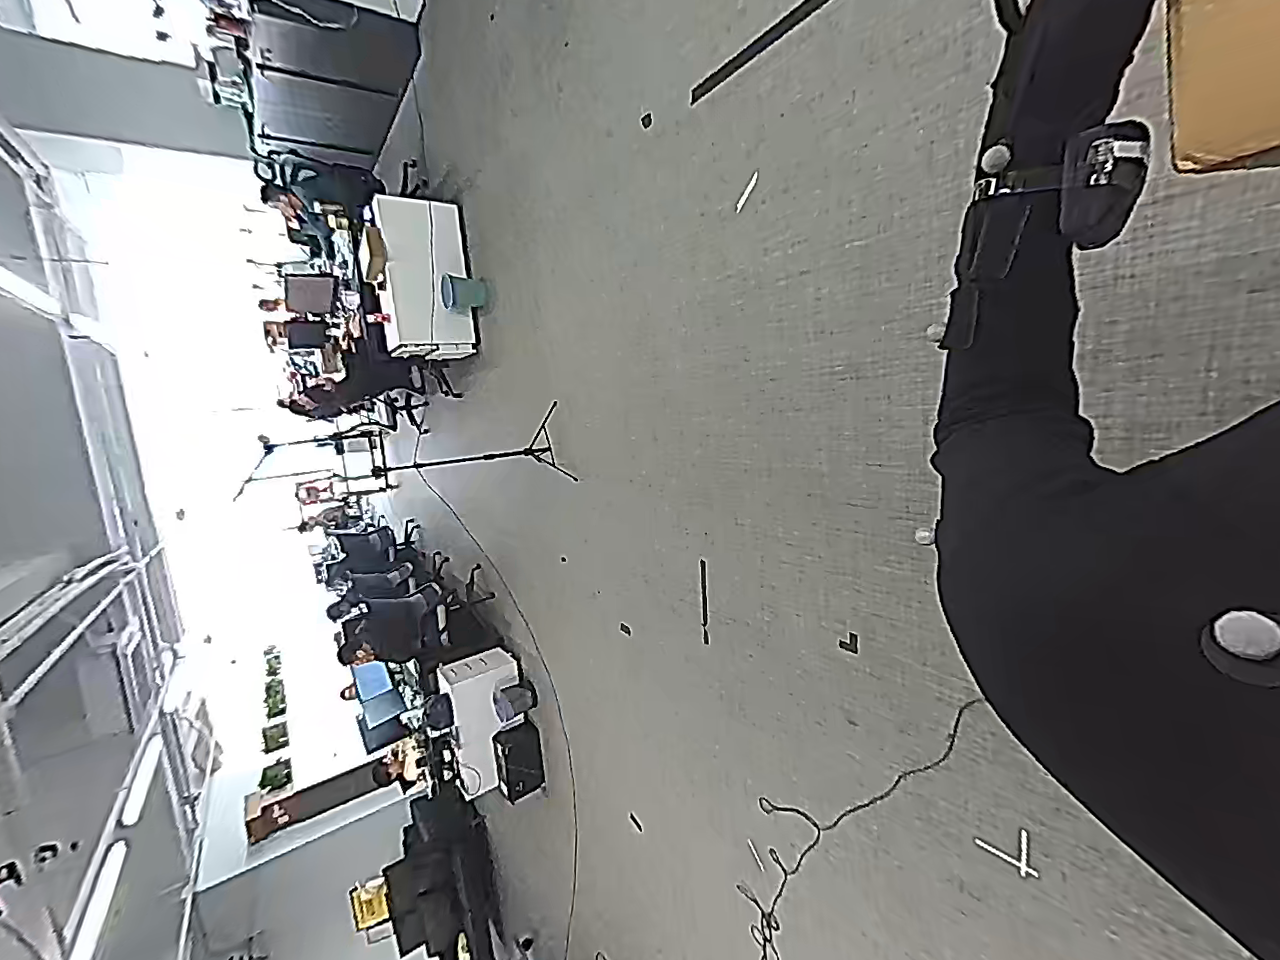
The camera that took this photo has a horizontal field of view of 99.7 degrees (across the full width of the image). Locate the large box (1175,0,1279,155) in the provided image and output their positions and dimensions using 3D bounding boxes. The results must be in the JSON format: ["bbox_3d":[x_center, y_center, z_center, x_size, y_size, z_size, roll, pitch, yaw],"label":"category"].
[{"bbox_3d":[0.504,-0.372,0.199,0.408,0.320,0.320,4,112,56],"label":"large box"}]
